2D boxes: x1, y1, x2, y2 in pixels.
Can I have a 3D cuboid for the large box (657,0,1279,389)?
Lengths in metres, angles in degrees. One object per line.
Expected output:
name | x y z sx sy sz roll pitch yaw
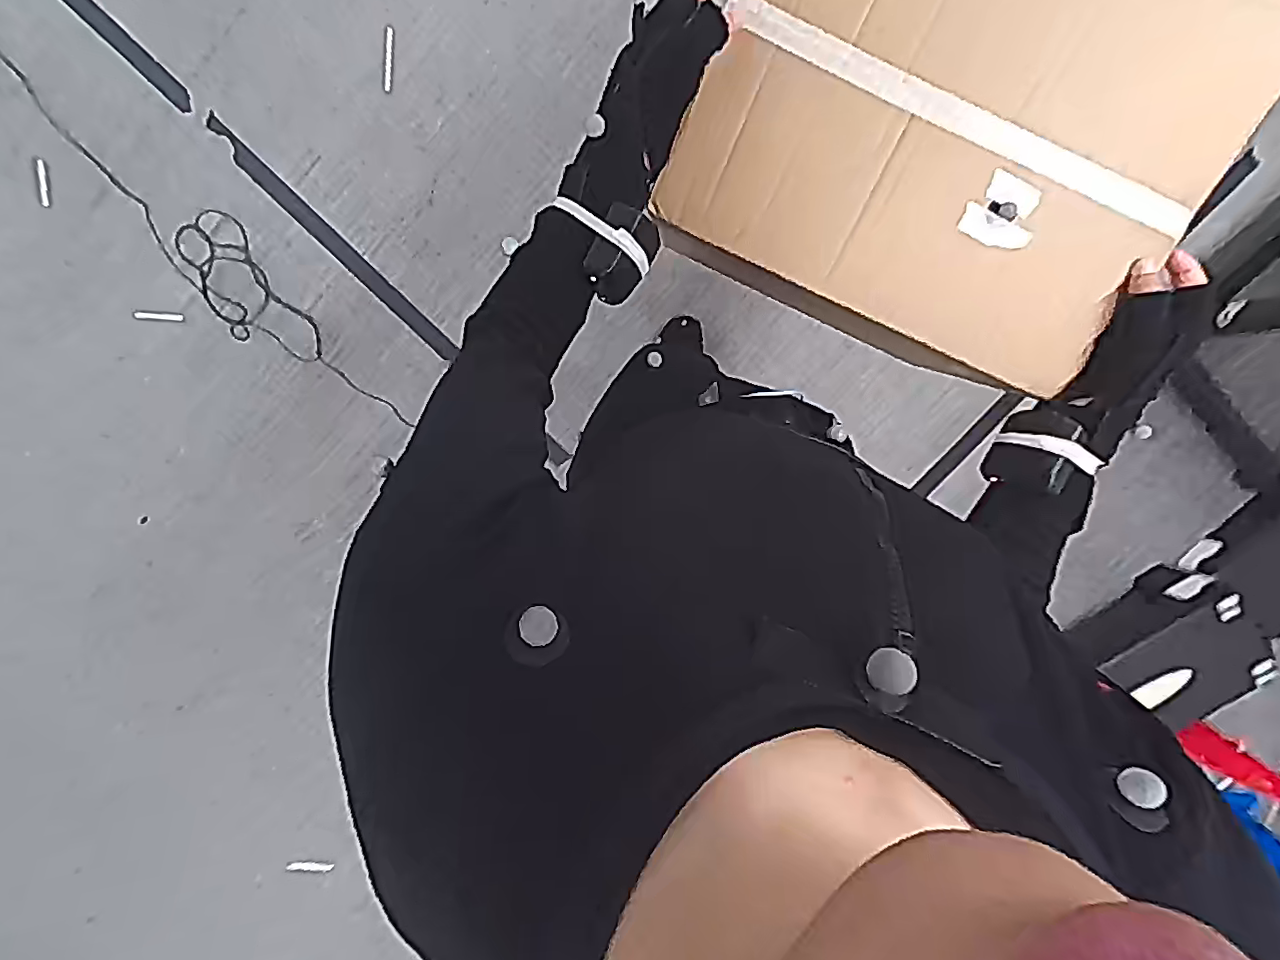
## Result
large box | 0.261 -0.336 0.577 0.408 0.320 0.320 24 110 -4
